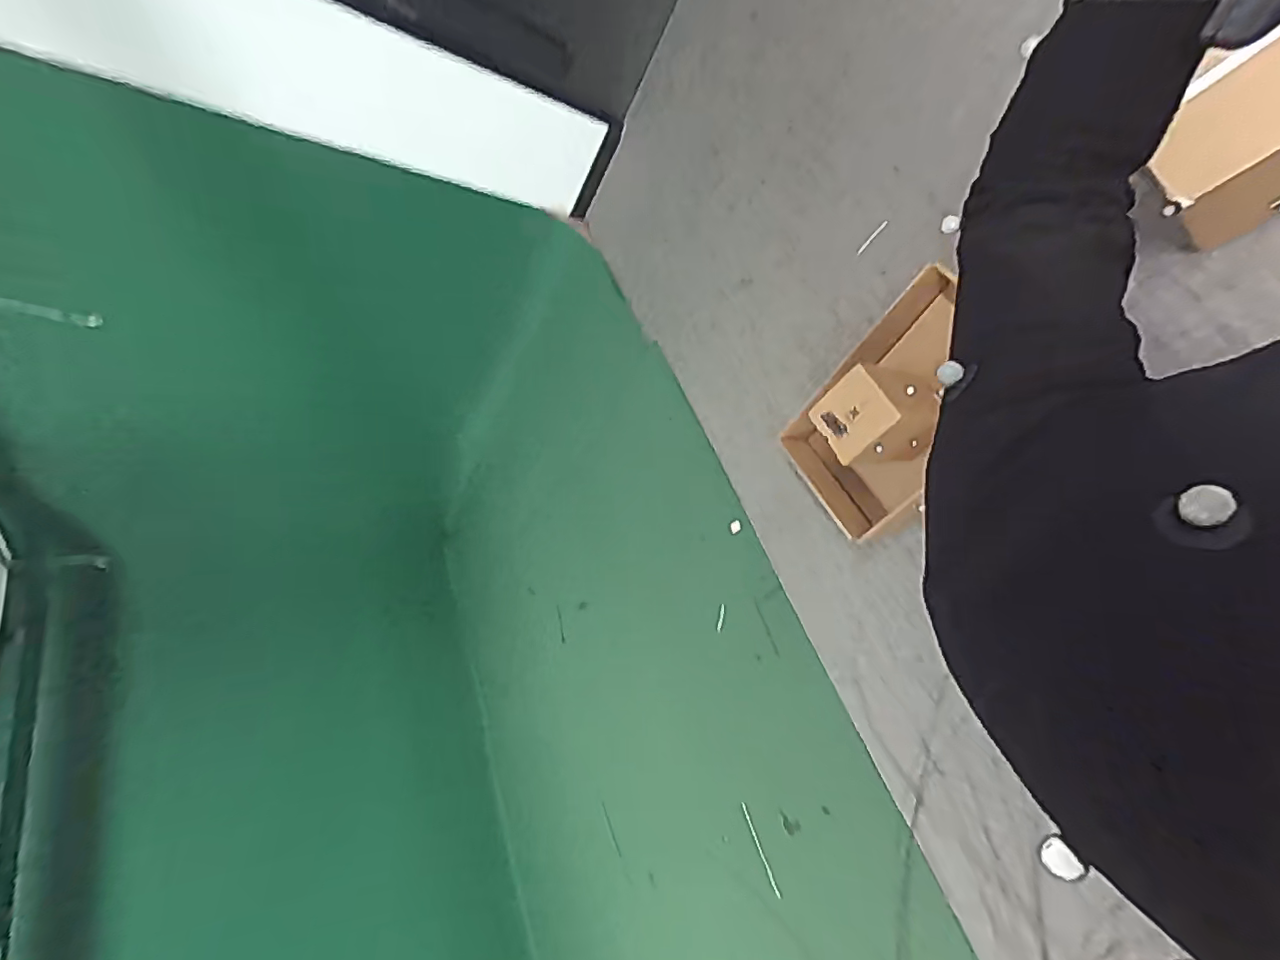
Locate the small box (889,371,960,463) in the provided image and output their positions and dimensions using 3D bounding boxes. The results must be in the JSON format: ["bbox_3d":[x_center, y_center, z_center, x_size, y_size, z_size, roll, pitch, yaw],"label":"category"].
[{"bbox_3d":[0.679,-0.155,1.398,0.179,0.176,0.168,-53,52,37],"label":"small box"}]

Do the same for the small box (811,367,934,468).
[{"bbox_3d":[0.554,-0.142,1.290,0.179,0.176,0.168,-51,54,39],"label":"small box"}]
